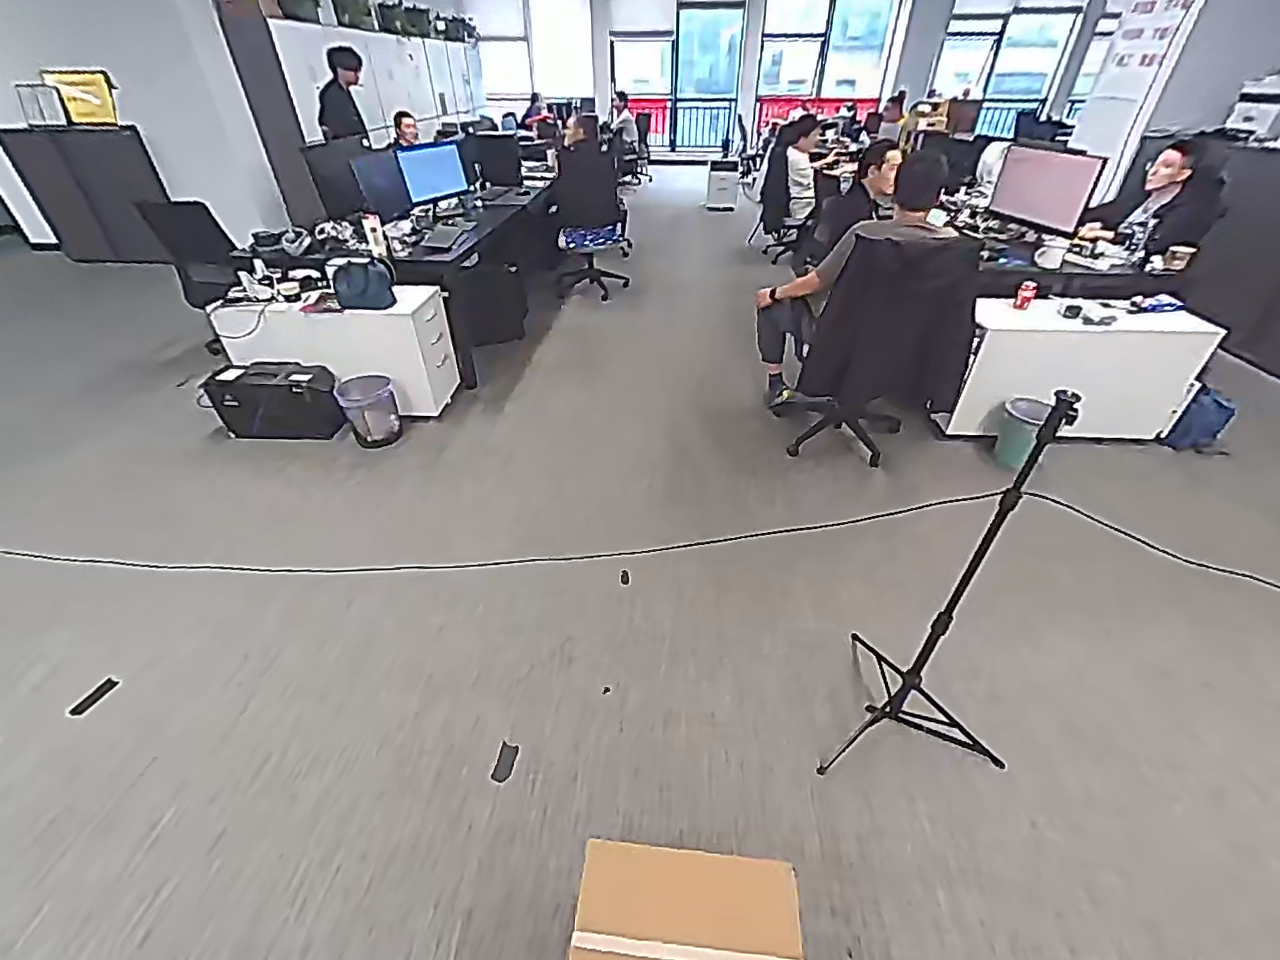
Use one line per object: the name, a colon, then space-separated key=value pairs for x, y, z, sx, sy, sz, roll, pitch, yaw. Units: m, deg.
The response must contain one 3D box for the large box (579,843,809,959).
large box: x=0.091 y=0.941 z=1.023 sx=0.408 sy=0.320 sz=0.320 roll=4 pitch=38 yaw=5
